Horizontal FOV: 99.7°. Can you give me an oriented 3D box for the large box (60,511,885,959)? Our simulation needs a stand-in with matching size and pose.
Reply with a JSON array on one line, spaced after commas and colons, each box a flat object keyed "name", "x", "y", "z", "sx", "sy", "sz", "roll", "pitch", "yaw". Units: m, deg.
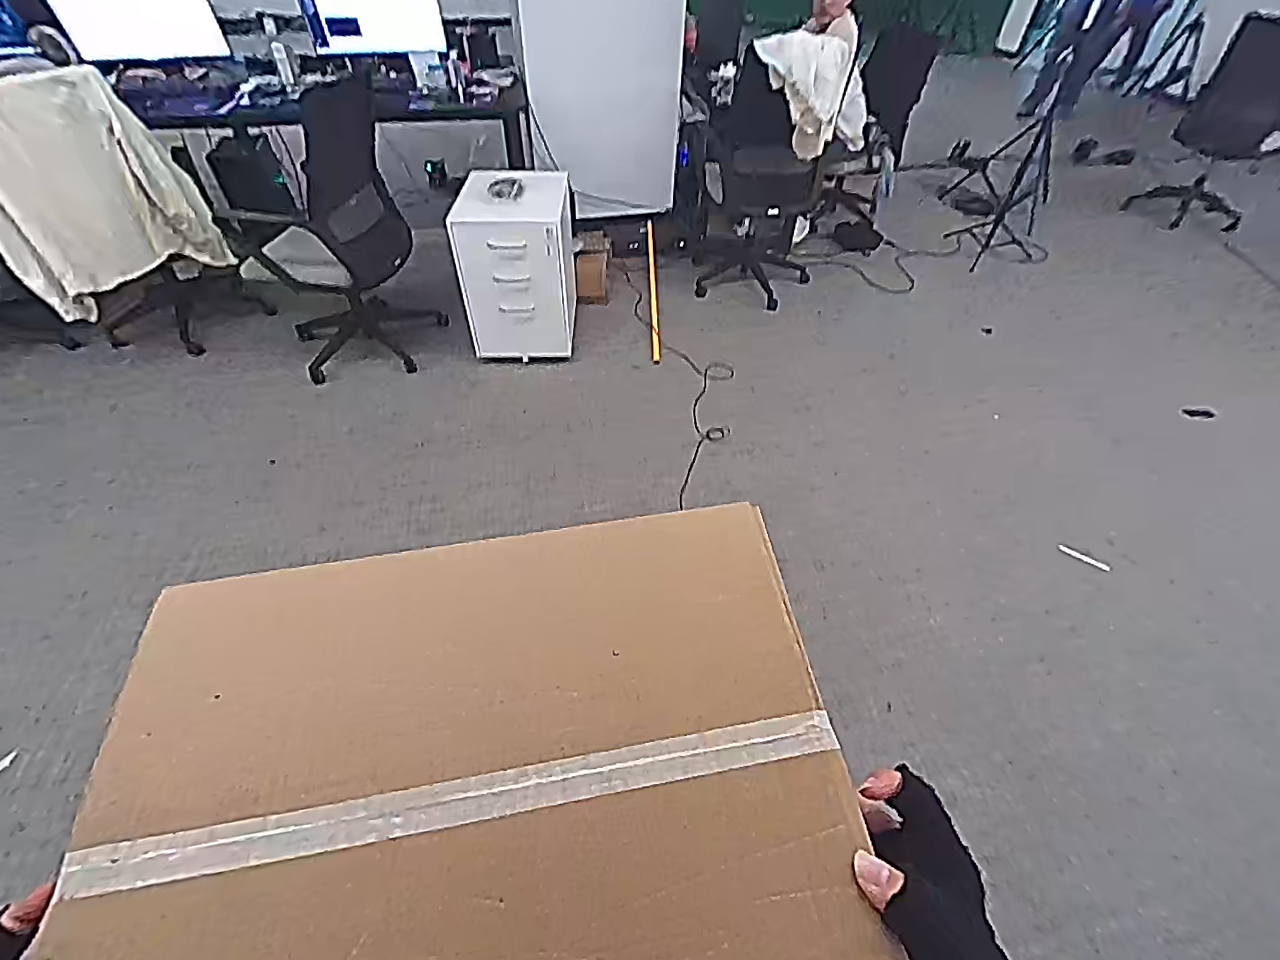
[{"name": "large box", "x": -0.091, "y": 0.258, "z": 0.429, "sx": 0.408, "sy": 0.320, "sz": 0.320, "roll": -8, "pitch": 56, "yaw": -5}]
